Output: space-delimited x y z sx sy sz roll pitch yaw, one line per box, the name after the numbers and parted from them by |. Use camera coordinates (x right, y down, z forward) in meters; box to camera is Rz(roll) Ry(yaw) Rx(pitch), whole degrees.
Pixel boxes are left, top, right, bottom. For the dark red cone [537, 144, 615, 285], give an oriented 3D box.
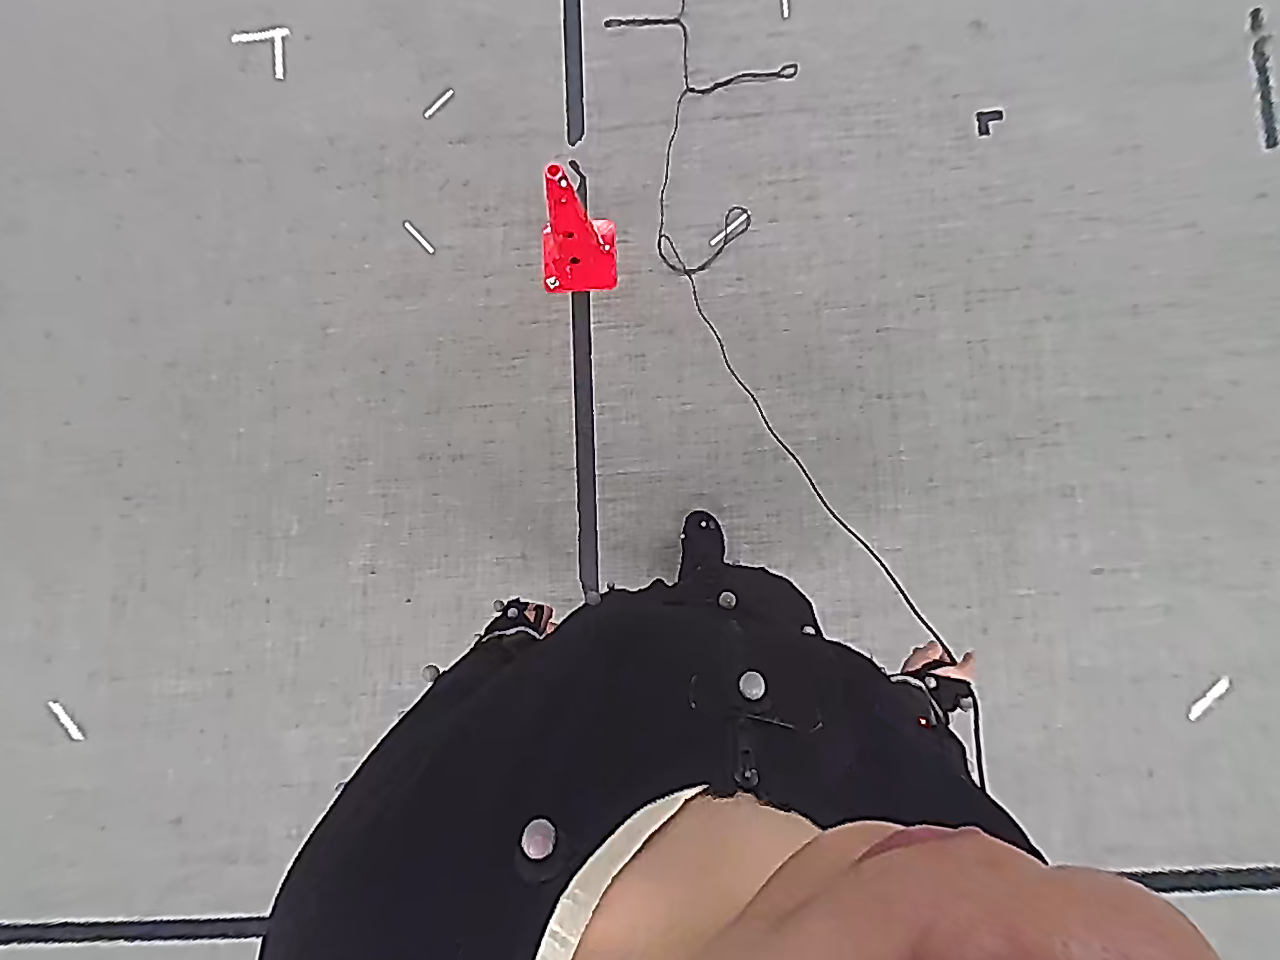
-0.174 -0.631 1.274 0.201 0.394 0.202 -4 84 1 | dark red cone
